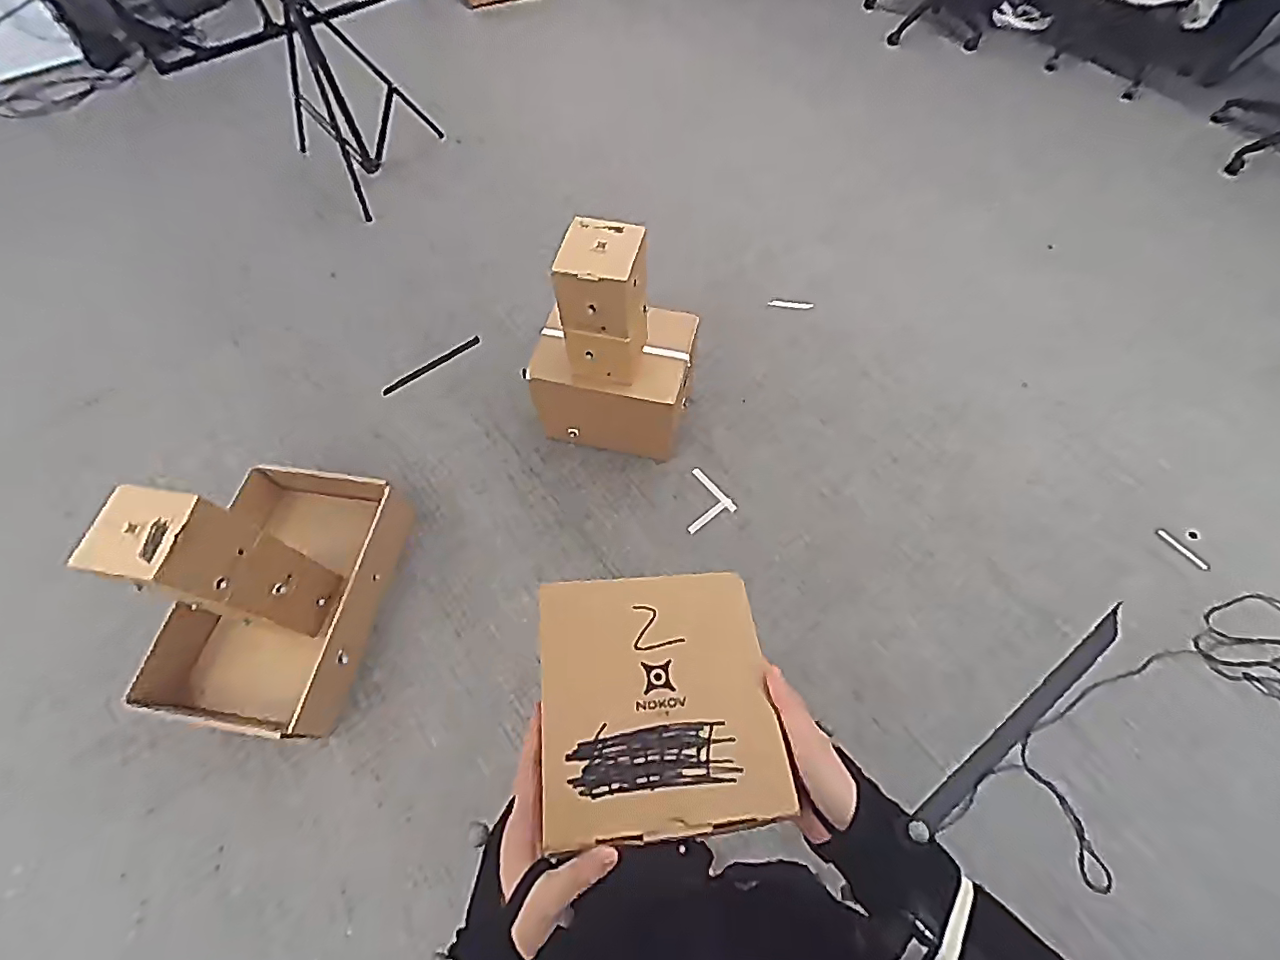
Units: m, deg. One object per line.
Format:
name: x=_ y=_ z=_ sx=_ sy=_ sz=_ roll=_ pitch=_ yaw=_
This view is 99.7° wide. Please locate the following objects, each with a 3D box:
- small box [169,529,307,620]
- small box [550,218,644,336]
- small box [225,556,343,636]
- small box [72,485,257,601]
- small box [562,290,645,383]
small box: x=-0.893 y=0.202 z=1.196 sx=0.179 sy=0.176 sz=0.168 roll=9 pitch=64 yaw=5
small box: x=-0.087 y=-0.452 z=1.219 sx=0.168 sy=0.176 sz=0.179 roll=12 pitch=64 yaw=7
small box: x=-0.888 y=0.277 z=1.340 sx=0.179 sy=0.176 sz=0.168 roll=10 pitch=64 yaw=7
small box: x=-0.902 y=0.129 z=1.049 sx=0.179 sy=0.176 sz=0.168 roll=7 pitch=64 yaw=7
small box: x=-0.084 y=-0.369 z=1.361 sx=0.168 sy=0.176 sz=0.179 roll=12 pitch=64 yaw=7
